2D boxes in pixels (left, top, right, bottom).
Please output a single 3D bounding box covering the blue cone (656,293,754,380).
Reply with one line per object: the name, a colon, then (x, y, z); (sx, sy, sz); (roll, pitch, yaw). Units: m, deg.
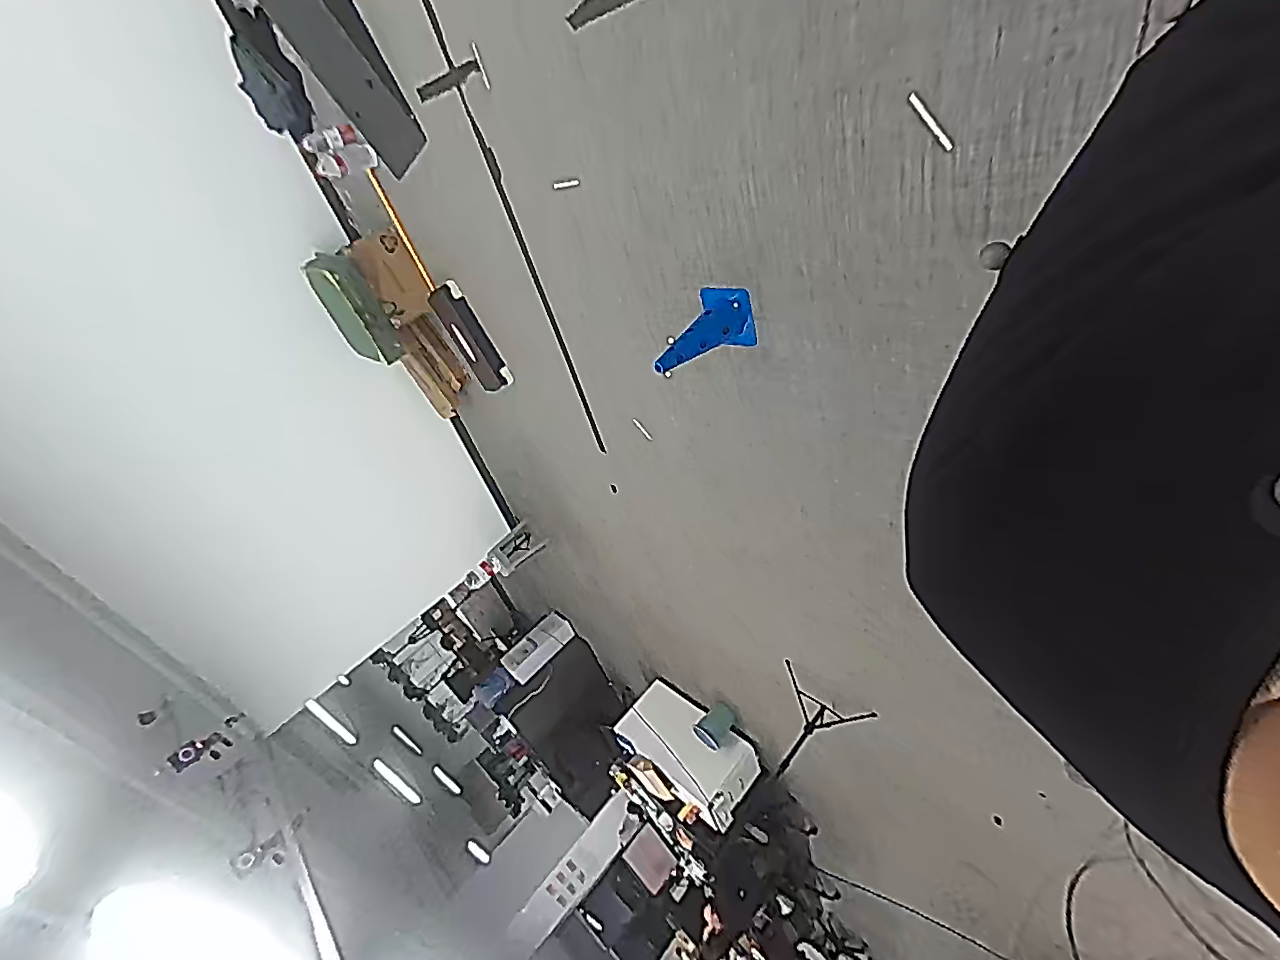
blue cone: (0.183, -0.436, 1.730); (0.193, 0.380, 0.192); (22, 142, 43)
